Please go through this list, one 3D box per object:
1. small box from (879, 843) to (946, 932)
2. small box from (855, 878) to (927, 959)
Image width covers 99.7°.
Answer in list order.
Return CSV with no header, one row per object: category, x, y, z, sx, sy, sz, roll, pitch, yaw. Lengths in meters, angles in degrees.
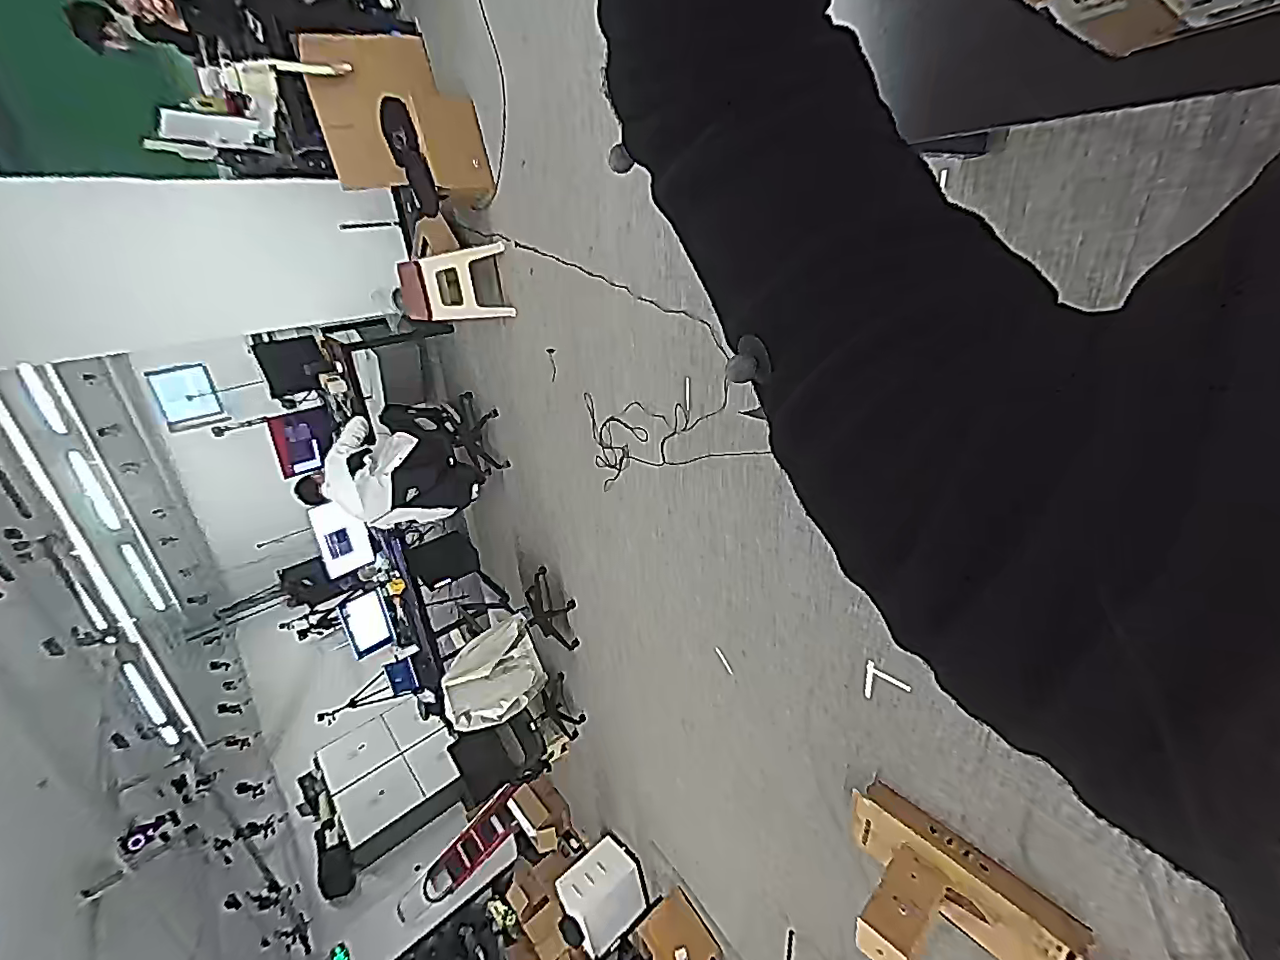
small box,0.965,1.453,1.924,0.168,0.176,0.179,21,125,45
small box,0.849,1.512,1.825,0.168,0.176,0.179,17,123,46
